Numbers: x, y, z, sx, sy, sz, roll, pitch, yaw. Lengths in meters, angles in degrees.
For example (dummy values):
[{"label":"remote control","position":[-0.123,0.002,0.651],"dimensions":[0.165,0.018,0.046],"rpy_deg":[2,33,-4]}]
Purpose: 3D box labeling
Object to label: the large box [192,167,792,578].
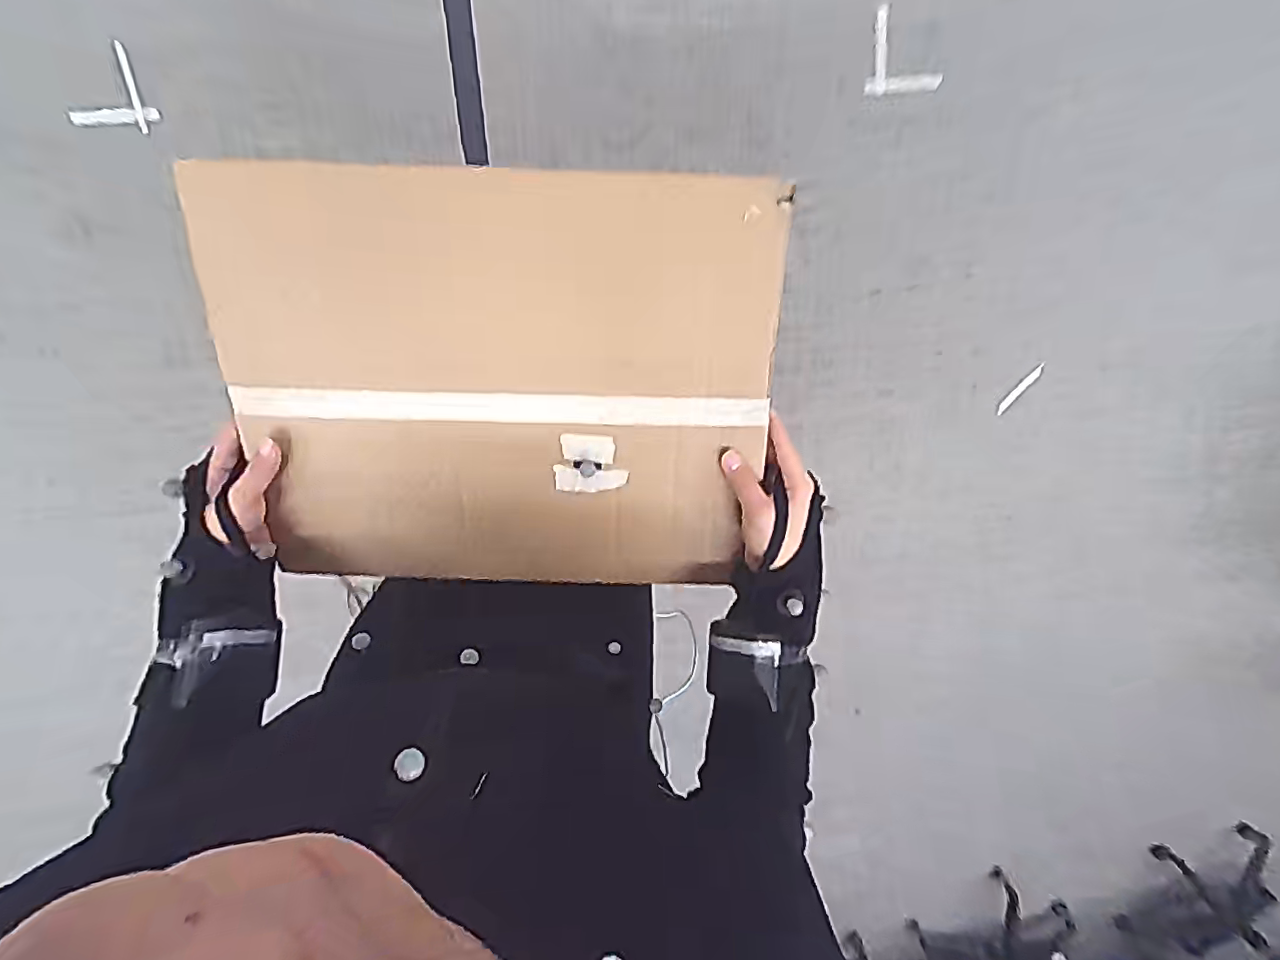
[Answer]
[{"label":"large box","position":[-0.102,-0.114,0.548],"dimensions":[0.408,0.320,0.320],"rpy_deg":[1,113,-1]}]
